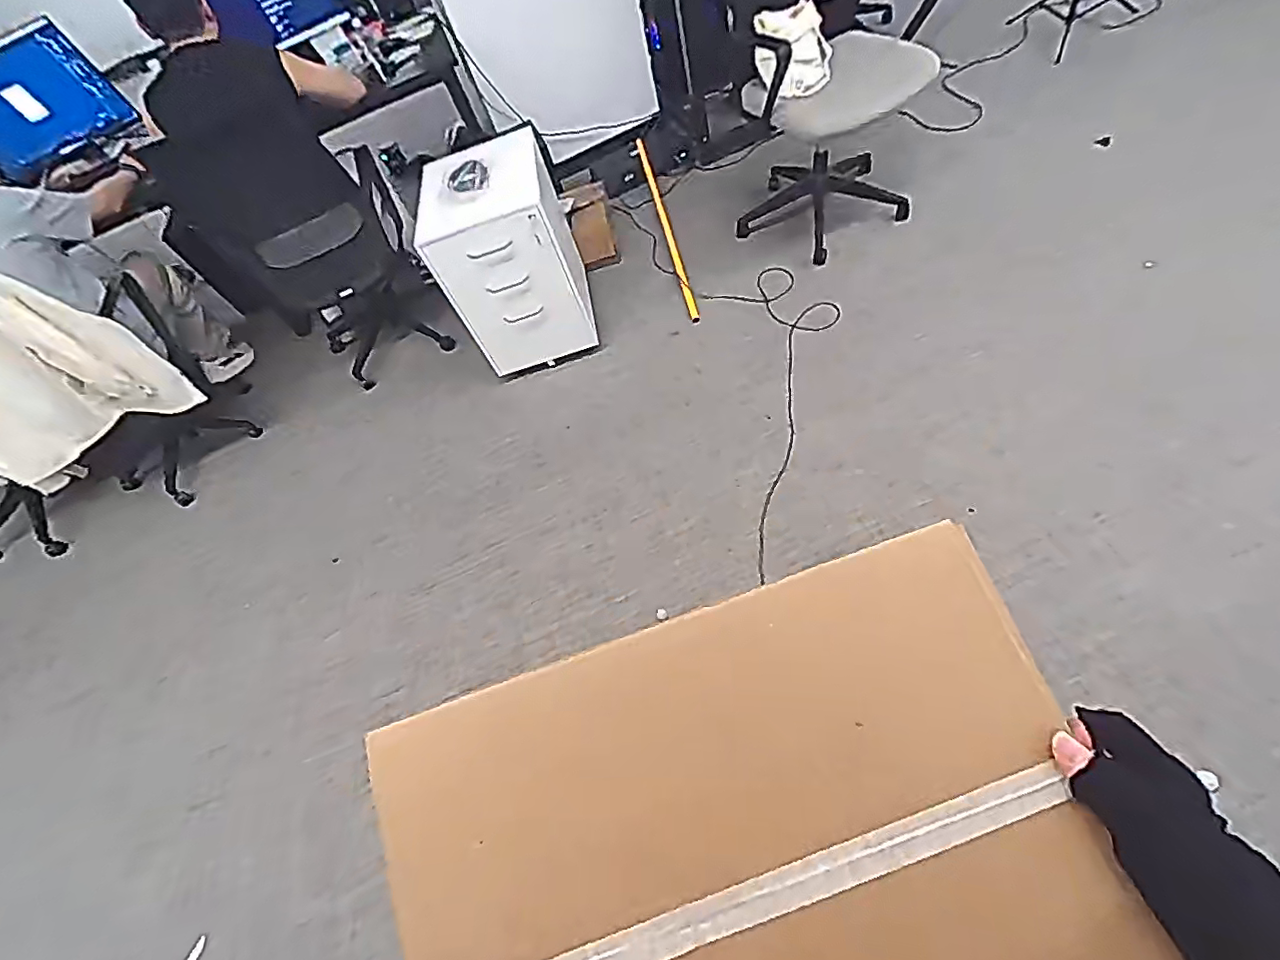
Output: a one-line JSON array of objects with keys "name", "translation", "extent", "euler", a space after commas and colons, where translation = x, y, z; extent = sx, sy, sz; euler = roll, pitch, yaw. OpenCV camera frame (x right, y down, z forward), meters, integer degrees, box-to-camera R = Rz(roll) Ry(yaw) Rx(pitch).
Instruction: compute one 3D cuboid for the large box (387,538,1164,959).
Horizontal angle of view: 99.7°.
[{"name": "large box", "translation": [0.080, 0.281, 0.464], "extent": [0.408, 0.320, 0.320], "euler": [-20, 74, -2]}]
